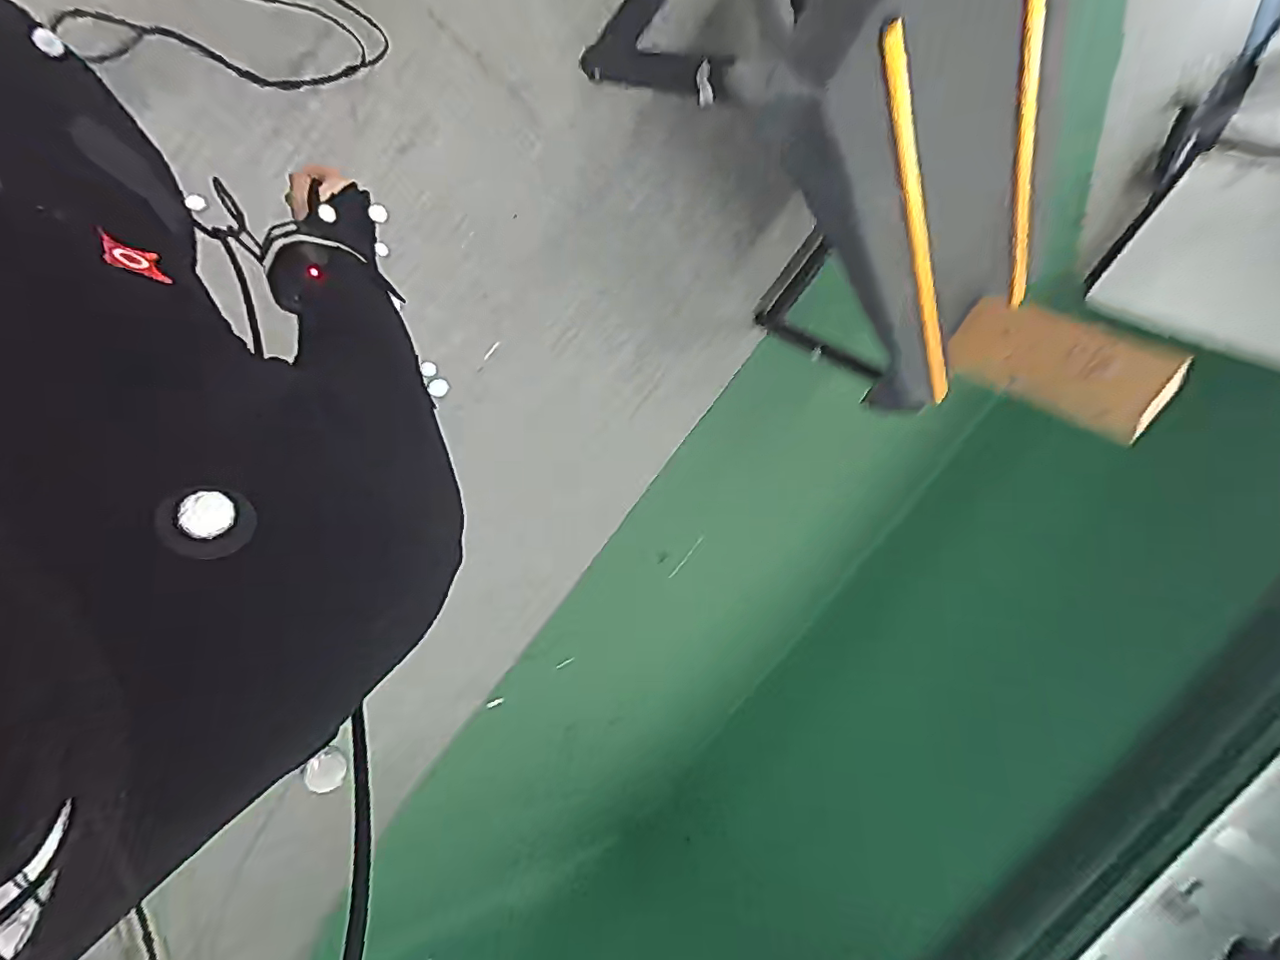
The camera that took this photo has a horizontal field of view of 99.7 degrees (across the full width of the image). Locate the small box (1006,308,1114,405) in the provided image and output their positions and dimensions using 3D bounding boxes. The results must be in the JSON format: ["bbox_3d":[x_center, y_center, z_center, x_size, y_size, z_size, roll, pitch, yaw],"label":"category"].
[{"bbox_3d":[1.148,-0.344,1.491,0.179,0.176,0.168,-54,141,6],"label":"small box"}]

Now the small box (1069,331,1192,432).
[{"bbox_3d":[1.246,-0.257,1.391,0.168,0.176,0.179,-55,140,6],"label":"small box"}]

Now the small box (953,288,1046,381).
[{"bbox_3d":[1.046,-0.429,1.585,0.179,0.176,0.168,-53,142,5],"label":"small box"}]
